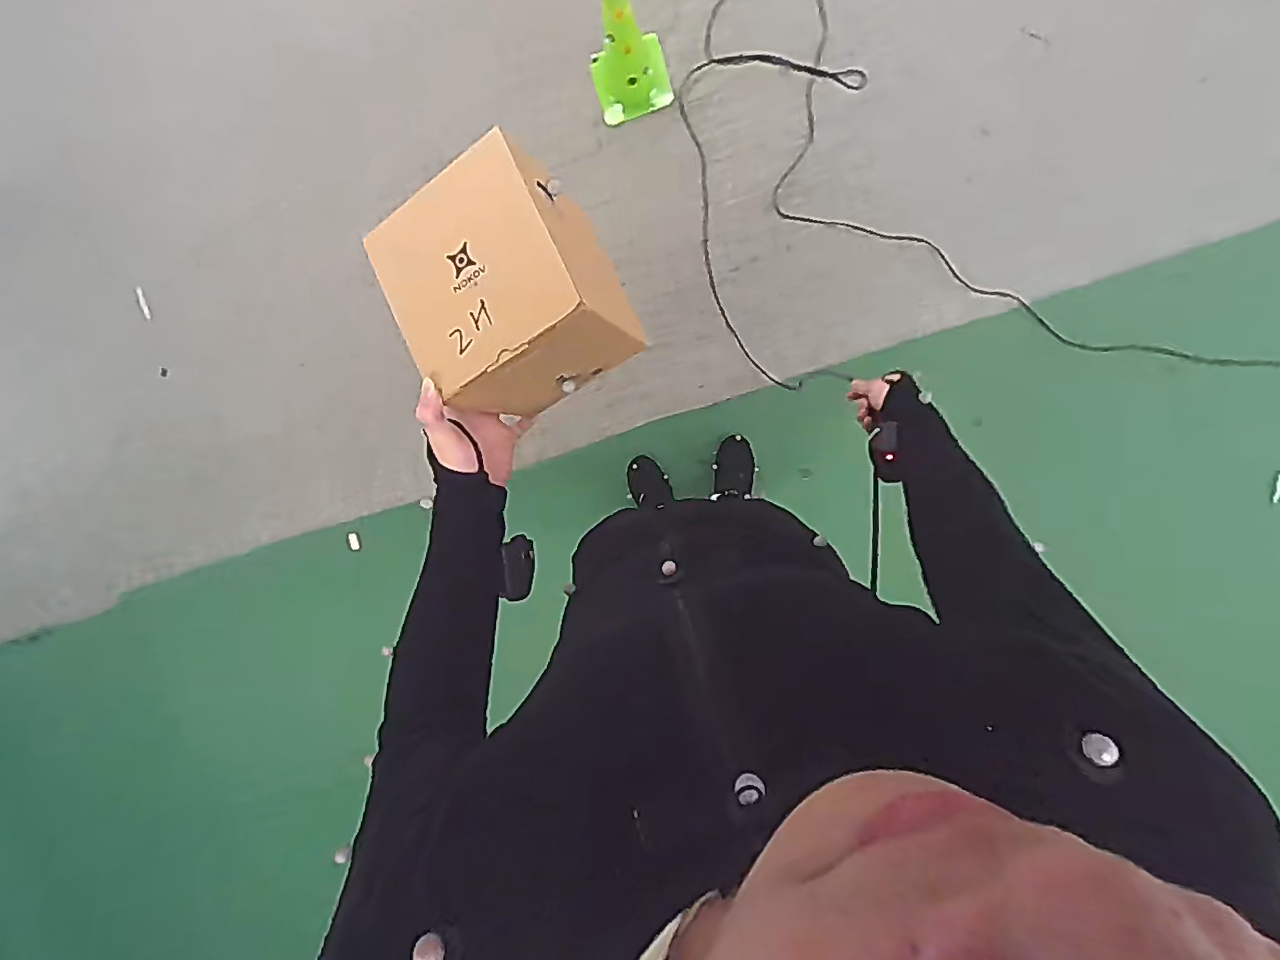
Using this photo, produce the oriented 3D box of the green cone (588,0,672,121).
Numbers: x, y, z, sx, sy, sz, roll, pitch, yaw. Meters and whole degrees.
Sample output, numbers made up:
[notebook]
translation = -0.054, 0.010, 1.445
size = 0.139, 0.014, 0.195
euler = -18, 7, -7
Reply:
[green cone]
translation = -0.045, -1.105, 1.333
size = 0.202, 0.368, 0.200
euler = -16, 94, 6
